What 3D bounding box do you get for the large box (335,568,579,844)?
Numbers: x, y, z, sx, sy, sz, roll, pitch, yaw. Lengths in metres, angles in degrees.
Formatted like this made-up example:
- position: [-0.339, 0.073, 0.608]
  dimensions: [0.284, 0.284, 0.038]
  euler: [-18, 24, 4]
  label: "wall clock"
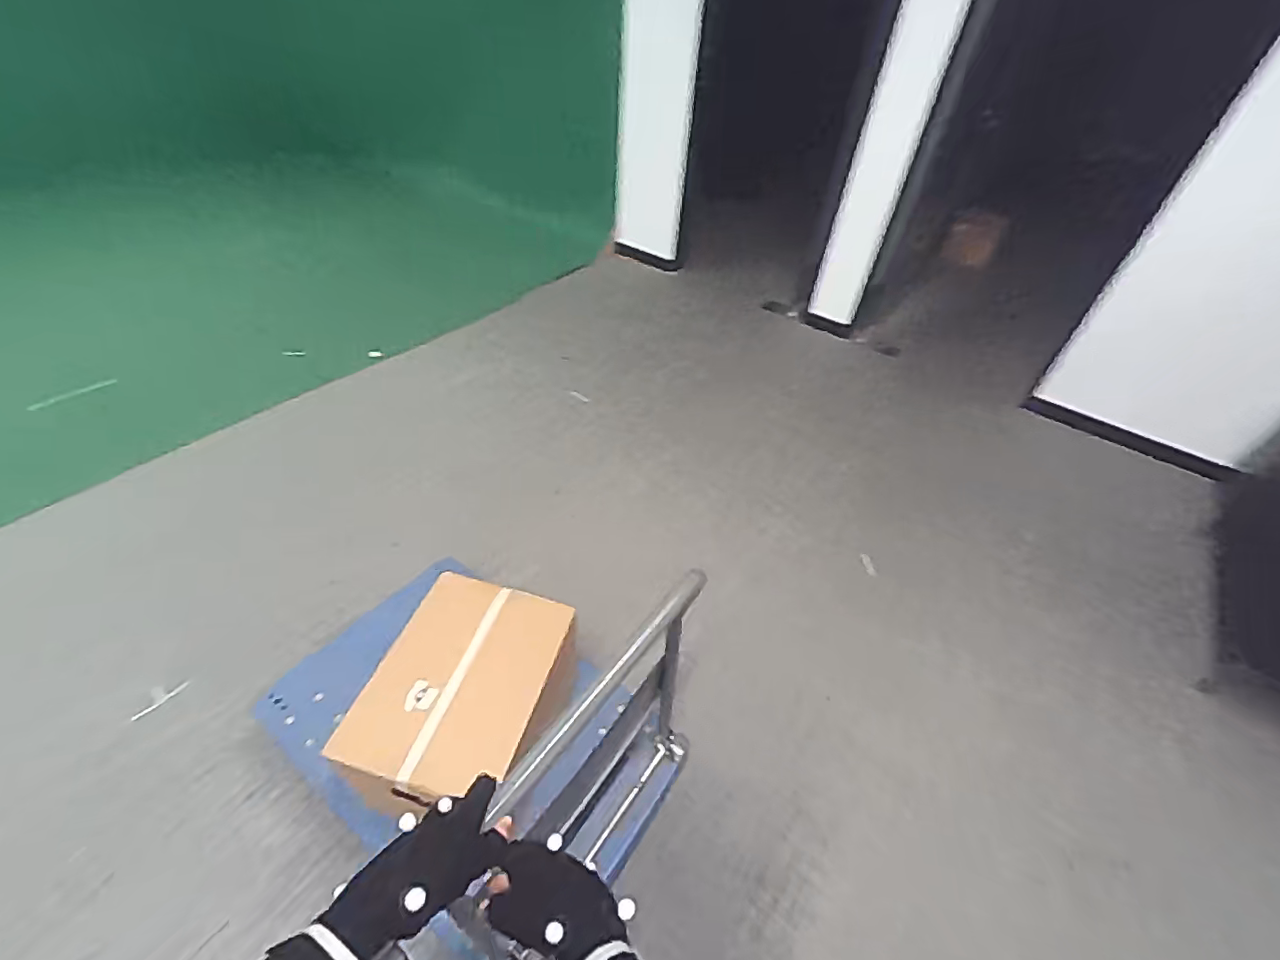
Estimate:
- position: [-0.340, 0.466, 1.145]
  dimensions: [0.320, 0.320, 0.408]
  euler: [15, 46, 9]
  label: "large box"
